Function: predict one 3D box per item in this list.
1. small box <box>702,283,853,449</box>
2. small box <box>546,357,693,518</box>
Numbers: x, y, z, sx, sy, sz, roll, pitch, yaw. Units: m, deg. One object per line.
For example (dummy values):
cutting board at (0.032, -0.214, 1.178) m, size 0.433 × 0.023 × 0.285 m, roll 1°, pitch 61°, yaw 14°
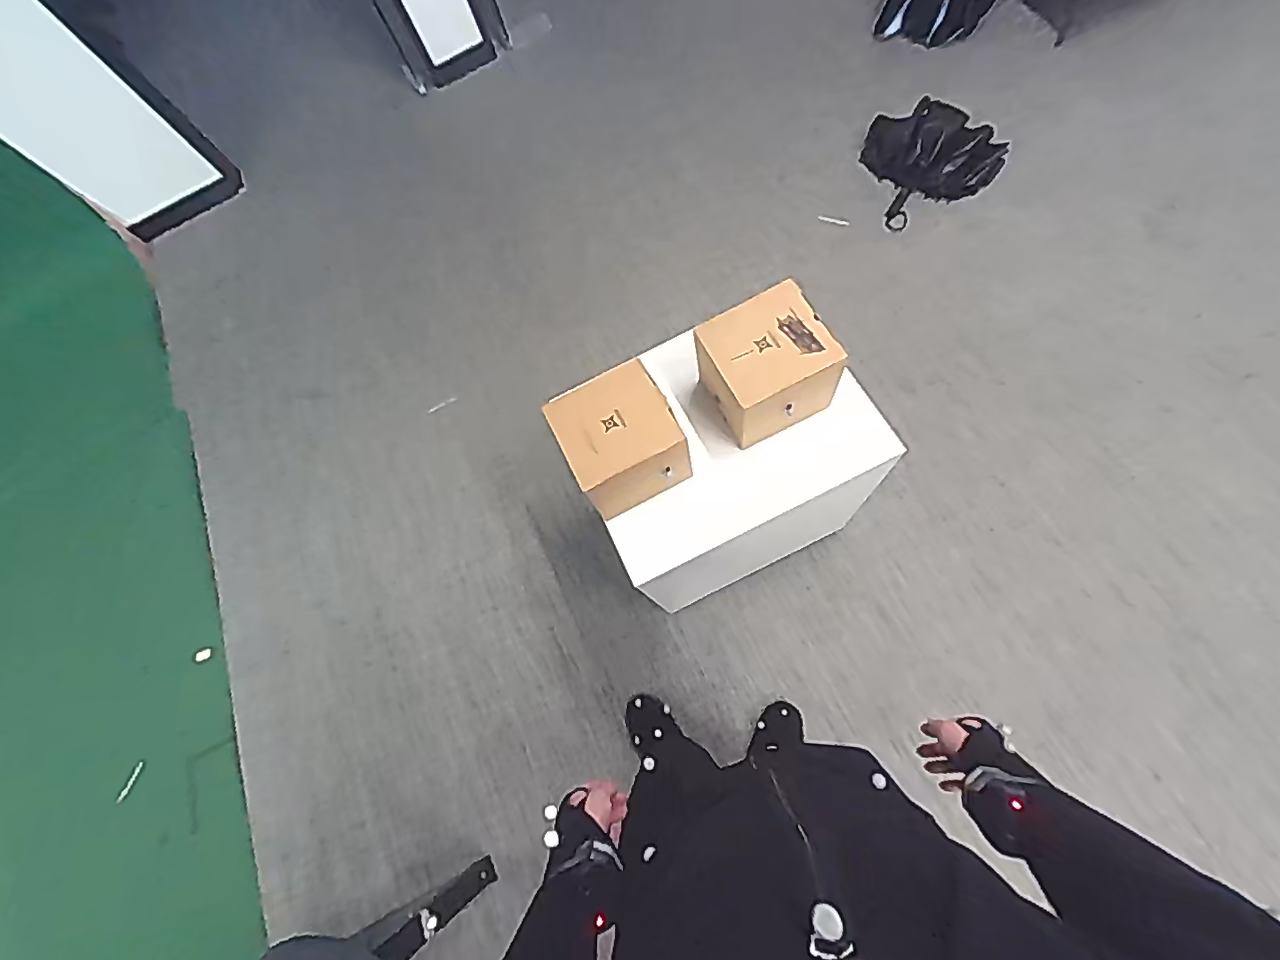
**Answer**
small box at (0.214, -0.178, 0.888) m, size 0.179 × 0.176 × 0.168 m, roll -26°, pitch 69°, yaw 0°
small box at (-0.025, -0.062, 0.882) m, size 0.179 × 0.176 × 0.168 m, roll -27°, pitch 68°, yaw -2°
